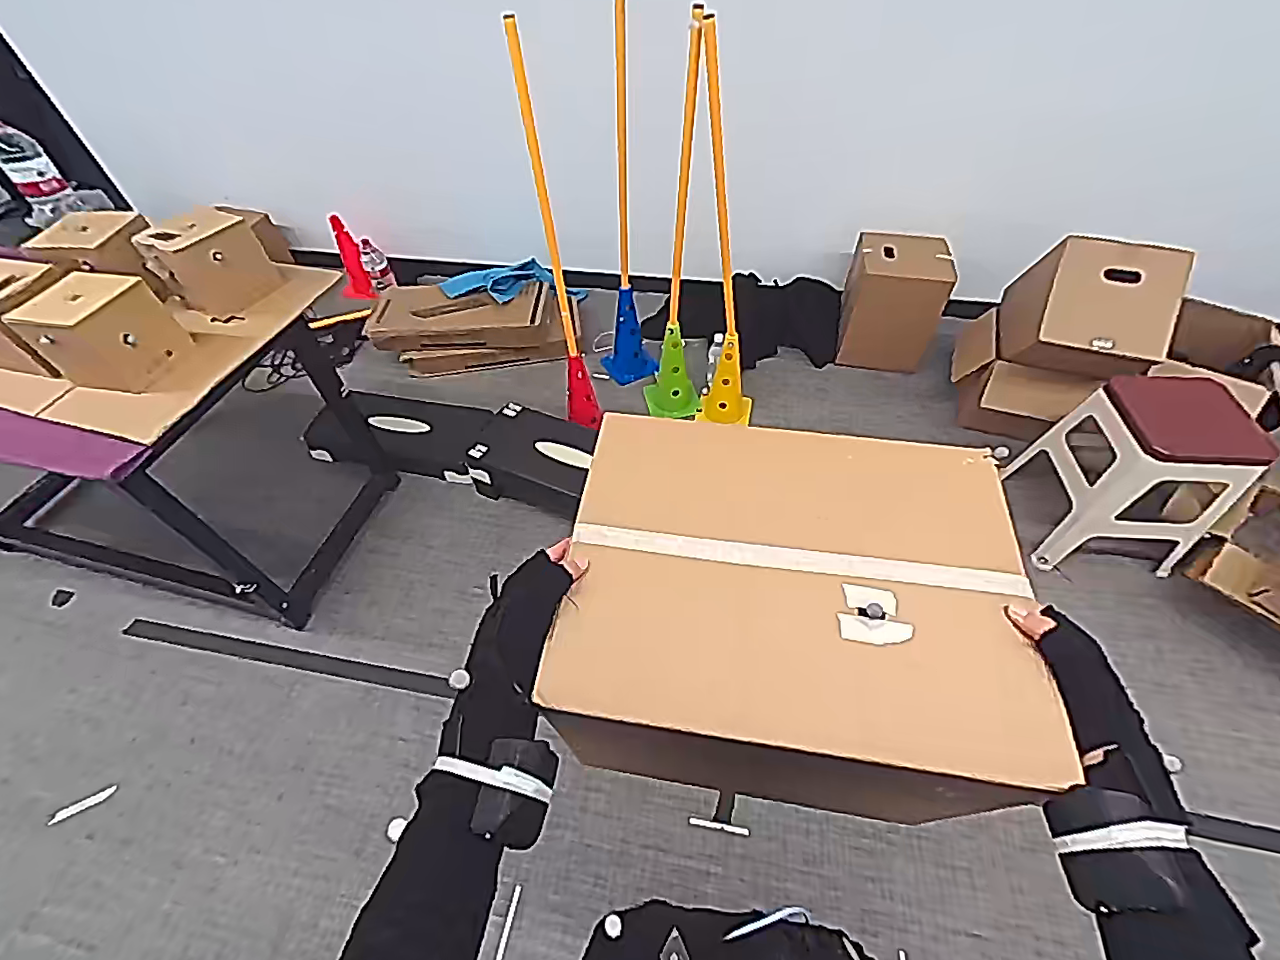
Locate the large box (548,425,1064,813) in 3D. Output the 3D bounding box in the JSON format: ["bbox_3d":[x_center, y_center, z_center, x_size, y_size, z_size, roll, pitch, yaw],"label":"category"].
[{"bbox_3d":[0.143,0.165,0.623,0.408,0.320,0.320,6,56,6],"label":"large box"}]
